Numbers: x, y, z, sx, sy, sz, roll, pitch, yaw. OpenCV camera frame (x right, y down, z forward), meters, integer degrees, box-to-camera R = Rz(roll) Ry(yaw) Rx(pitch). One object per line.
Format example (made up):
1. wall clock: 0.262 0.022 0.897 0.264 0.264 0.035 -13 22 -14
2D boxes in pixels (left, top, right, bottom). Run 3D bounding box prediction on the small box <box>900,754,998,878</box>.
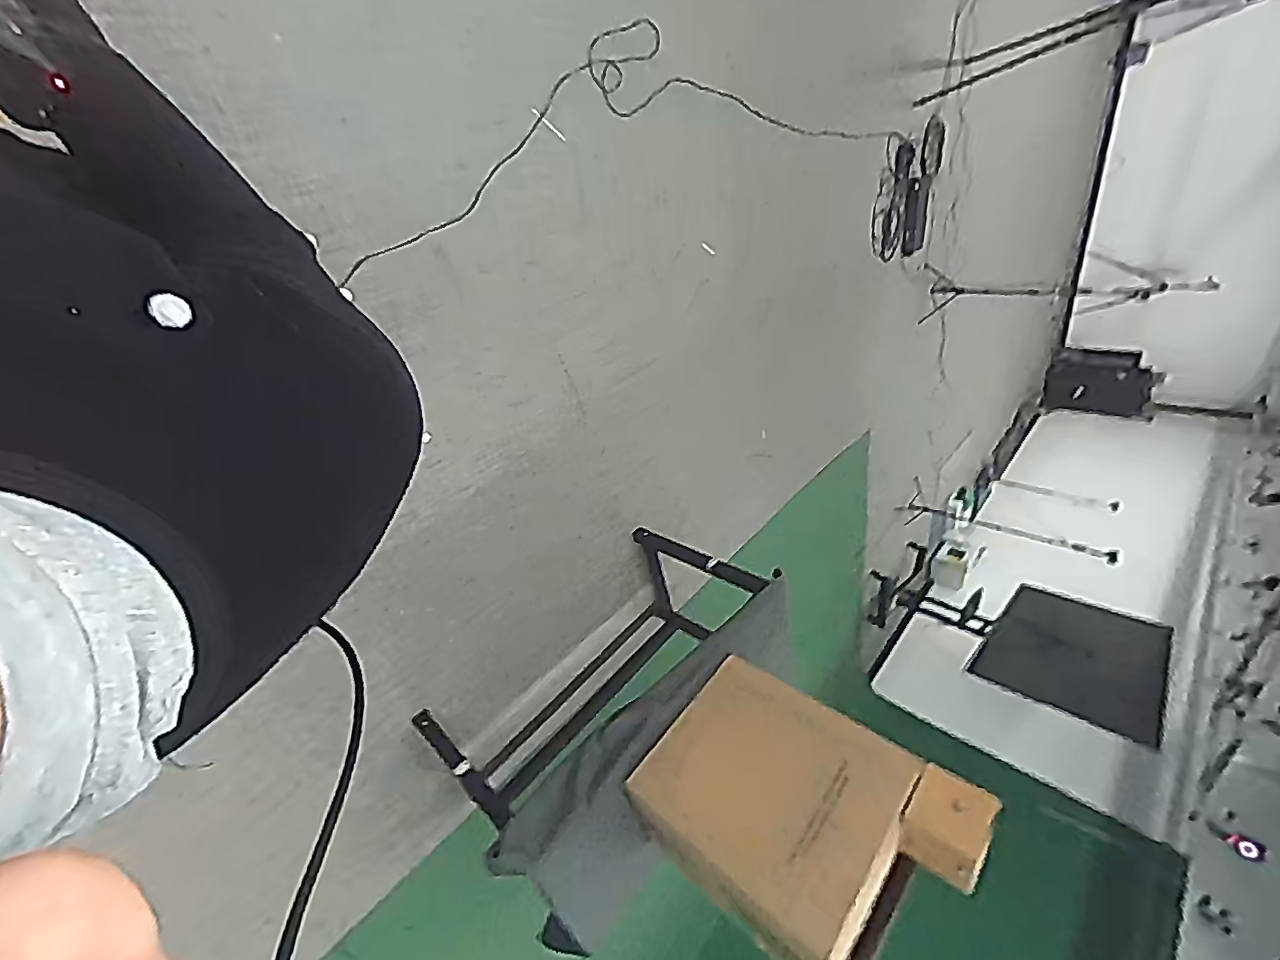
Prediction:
1. small box: 0.787 0.849 1.383 0.179 0.176 0.168 -37 128 -35
